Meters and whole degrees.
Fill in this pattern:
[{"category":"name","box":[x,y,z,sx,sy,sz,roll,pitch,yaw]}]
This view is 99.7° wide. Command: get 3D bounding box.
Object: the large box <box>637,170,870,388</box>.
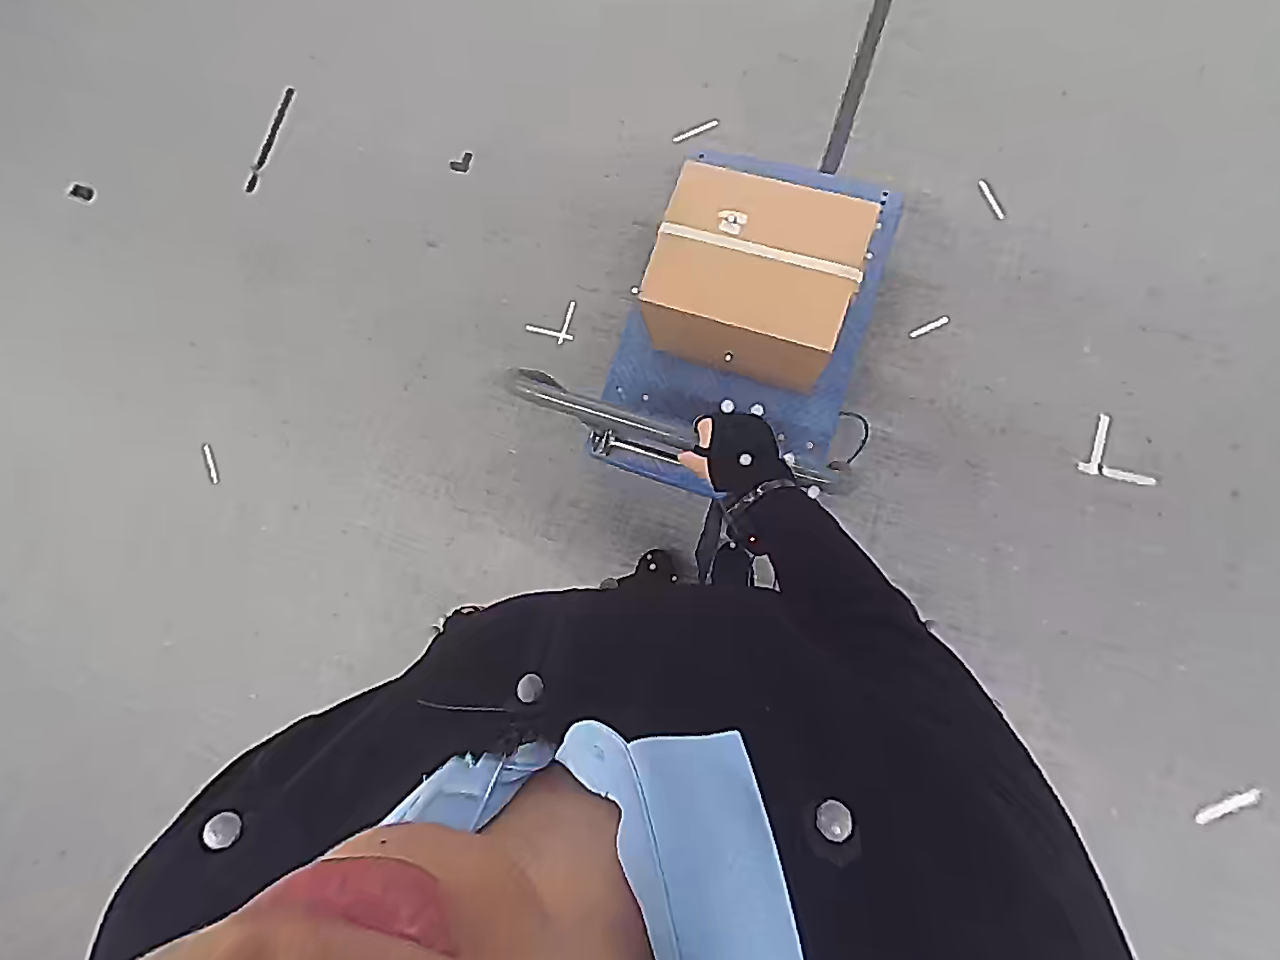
[{"category":"large box","box":[0.251,-0.437,1.235,0.408,0.320,0.320,18,86,11]}]
